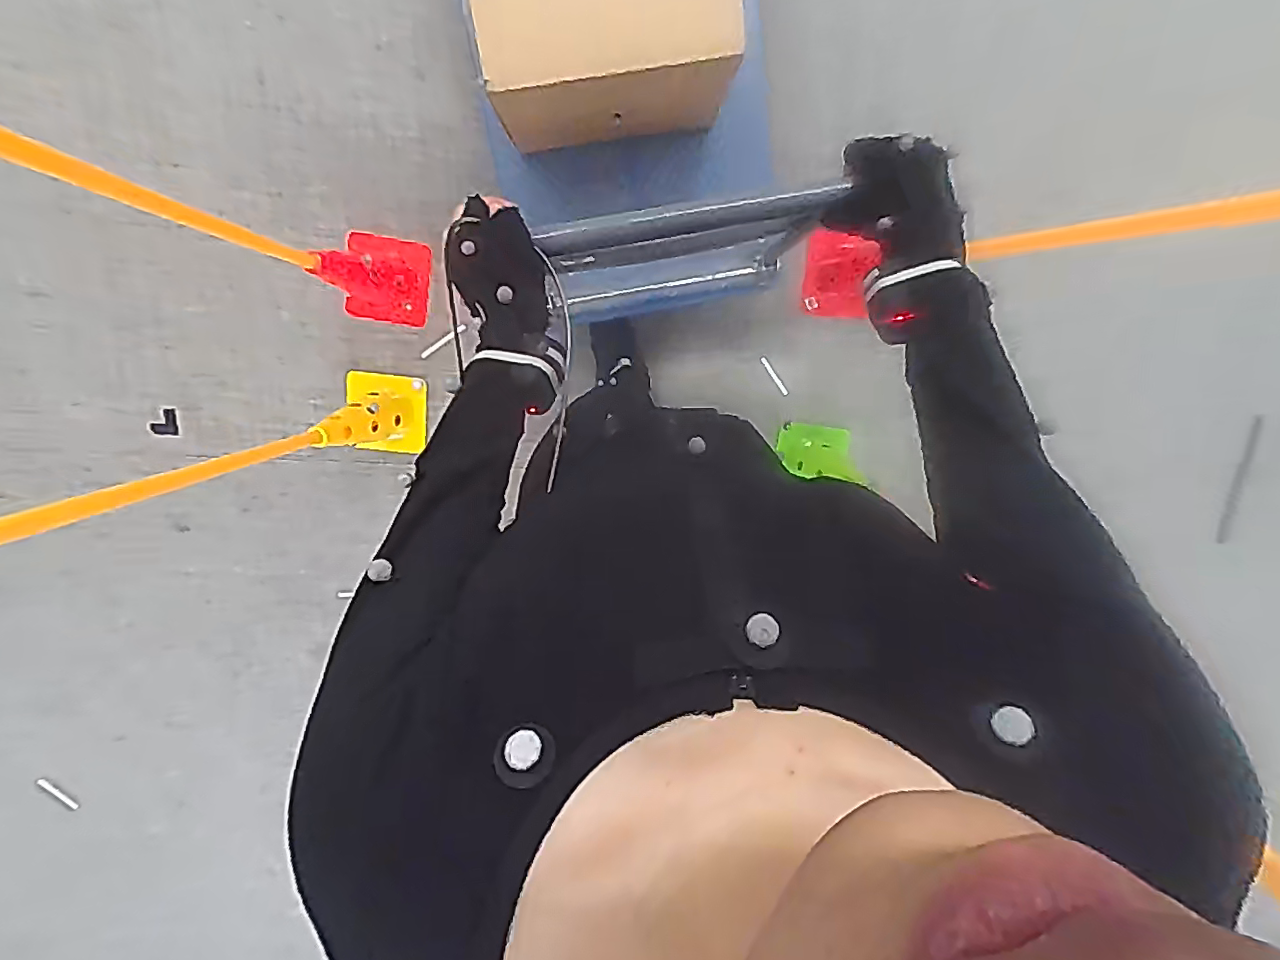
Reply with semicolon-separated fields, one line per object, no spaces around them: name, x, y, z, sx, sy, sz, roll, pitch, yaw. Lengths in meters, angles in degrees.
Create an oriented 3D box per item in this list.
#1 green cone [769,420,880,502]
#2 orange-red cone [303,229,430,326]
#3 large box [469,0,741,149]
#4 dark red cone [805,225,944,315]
green cone;0.474;-0.013;1.319;0.202;0.368;0.200;6;104;-6
orange-red cone;-0.608;-0.451;1.153;0.198;0.360;0.199;10;103;-6
large box;-0.067;-0.812;0.931;0.408;0.320;0.320;-9;106;0
dark red cone;0.525;-0.476;1.181;0.201;0.394;0.202;2;105;-5
